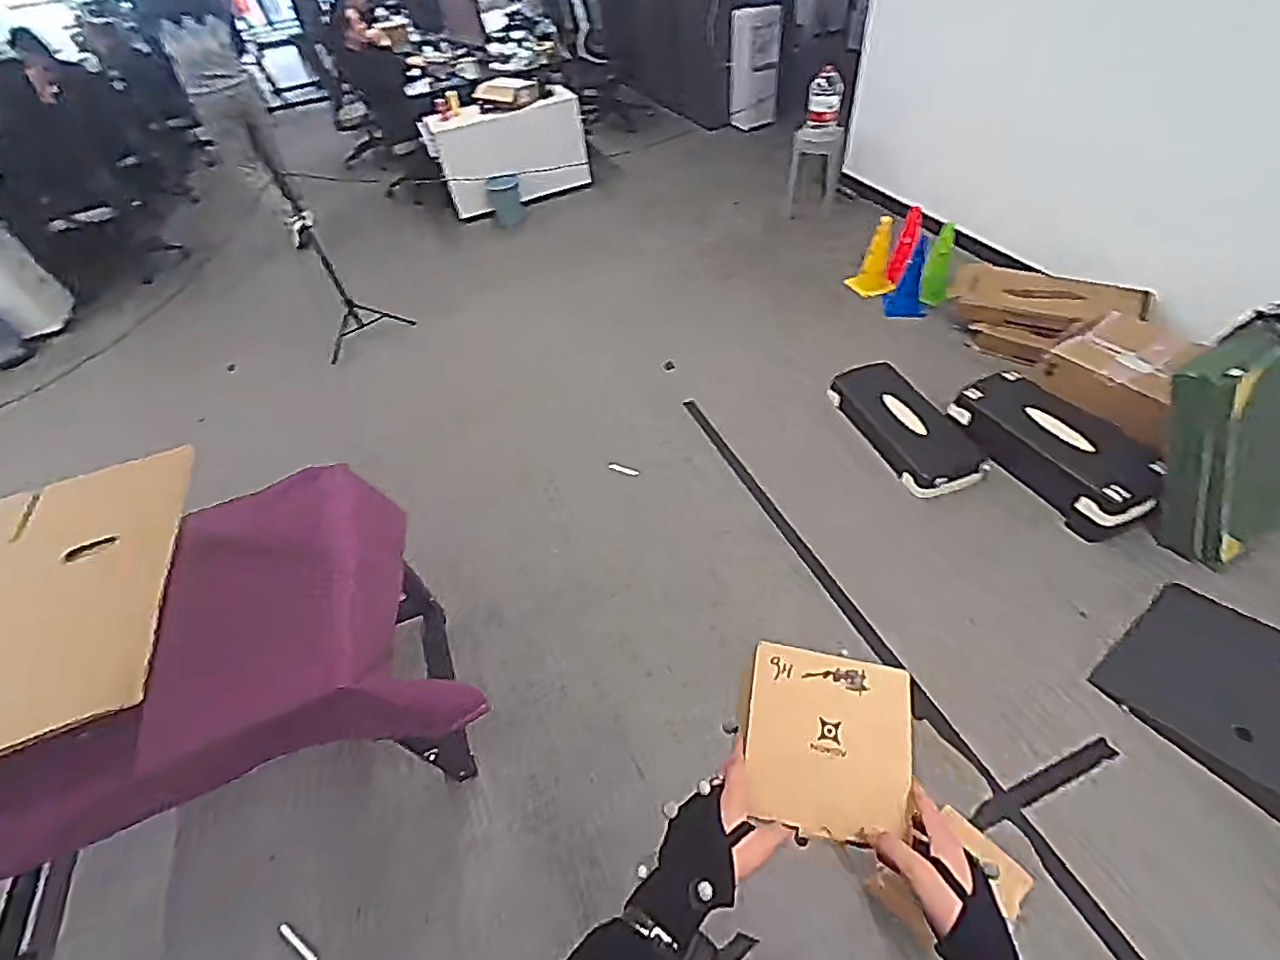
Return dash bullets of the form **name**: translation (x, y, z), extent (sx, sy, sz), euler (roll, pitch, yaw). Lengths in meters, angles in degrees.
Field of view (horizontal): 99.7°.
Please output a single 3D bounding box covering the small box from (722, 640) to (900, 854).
- **small box**: translation (0.192, 0.306, 0.637), extent (0.168, 0.176, 0.179), euler (9, 63, 8)
